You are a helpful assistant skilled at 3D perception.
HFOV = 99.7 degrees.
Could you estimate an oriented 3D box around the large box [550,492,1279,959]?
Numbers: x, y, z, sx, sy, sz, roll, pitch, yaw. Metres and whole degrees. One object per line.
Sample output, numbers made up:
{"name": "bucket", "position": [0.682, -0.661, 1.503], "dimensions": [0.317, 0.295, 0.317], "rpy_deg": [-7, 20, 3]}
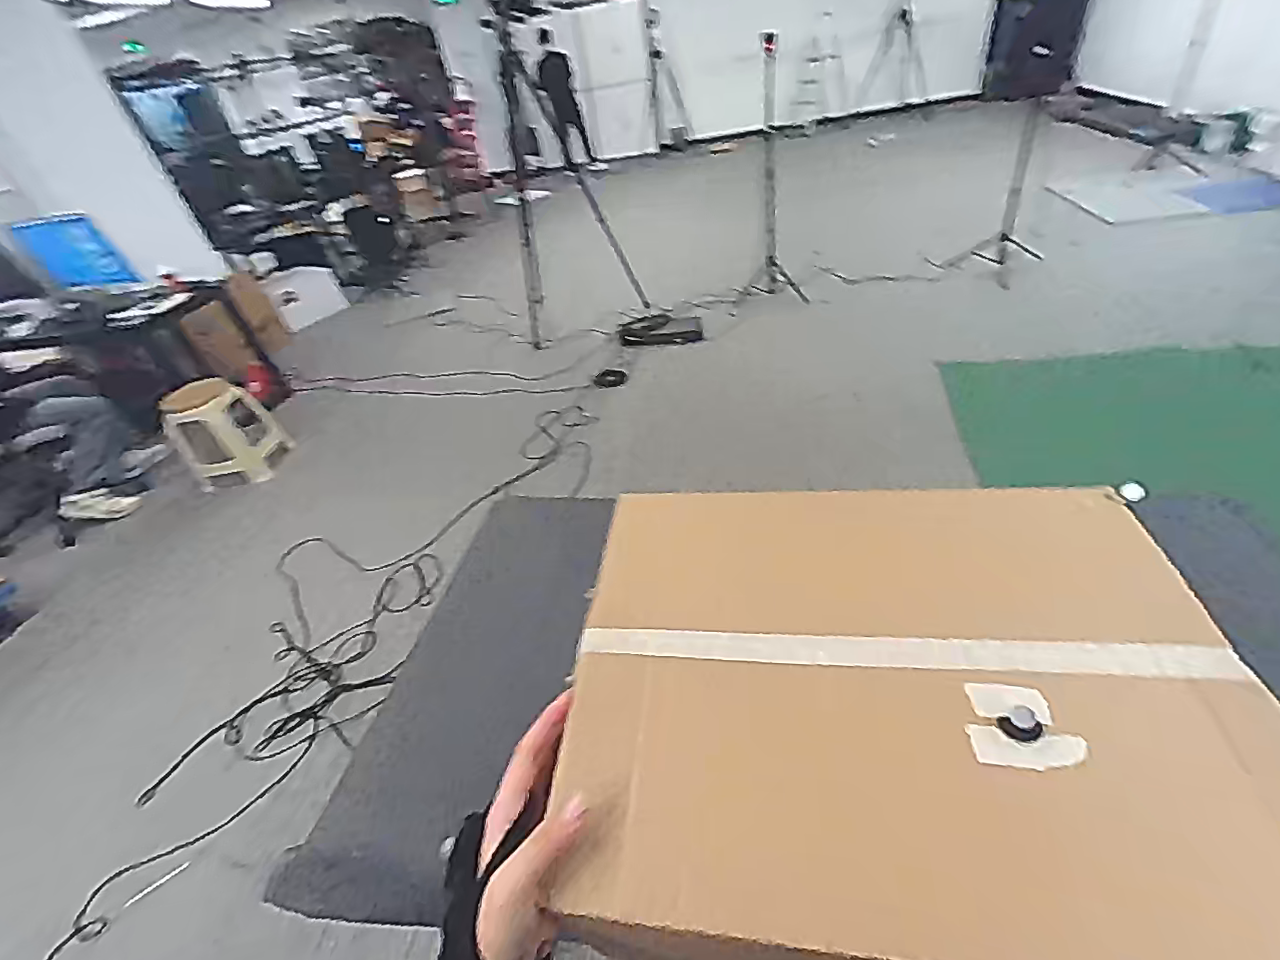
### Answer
{"name": "large box", "position": [0.178, 0.226, 0.467], "dimensions": [0.408, 0.320, 0.320], "rpy_deg": [-1, 44, 10]}
